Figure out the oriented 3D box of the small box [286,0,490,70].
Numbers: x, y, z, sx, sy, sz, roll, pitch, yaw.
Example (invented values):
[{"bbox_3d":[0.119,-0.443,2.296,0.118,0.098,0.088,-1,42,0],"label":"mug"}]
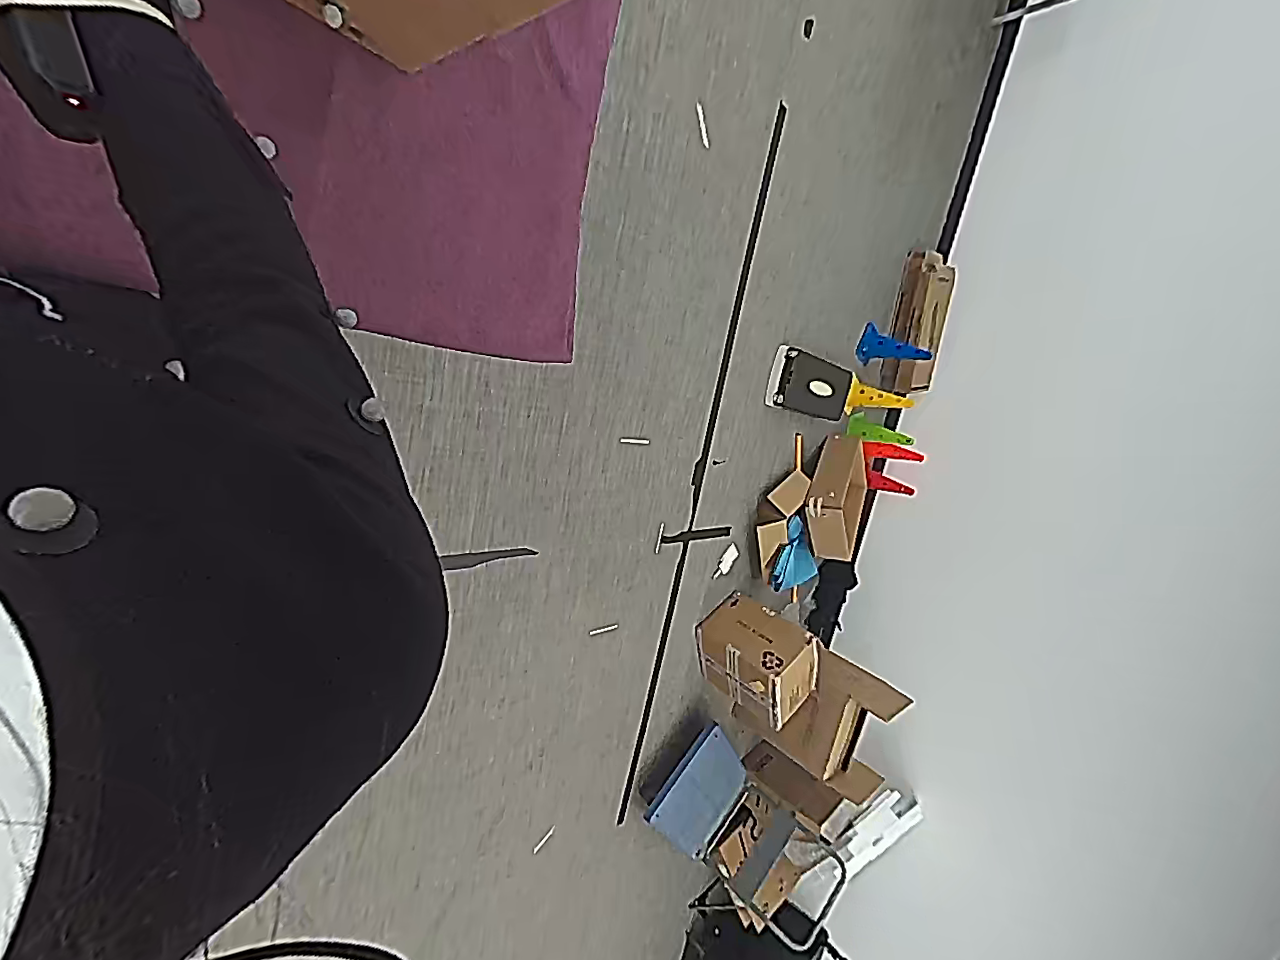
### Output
[{"bbox_3d":[-0.218,-0.488,0.444,0.168,0.176,0.179,5,104,-47],"label":"small box"}]
